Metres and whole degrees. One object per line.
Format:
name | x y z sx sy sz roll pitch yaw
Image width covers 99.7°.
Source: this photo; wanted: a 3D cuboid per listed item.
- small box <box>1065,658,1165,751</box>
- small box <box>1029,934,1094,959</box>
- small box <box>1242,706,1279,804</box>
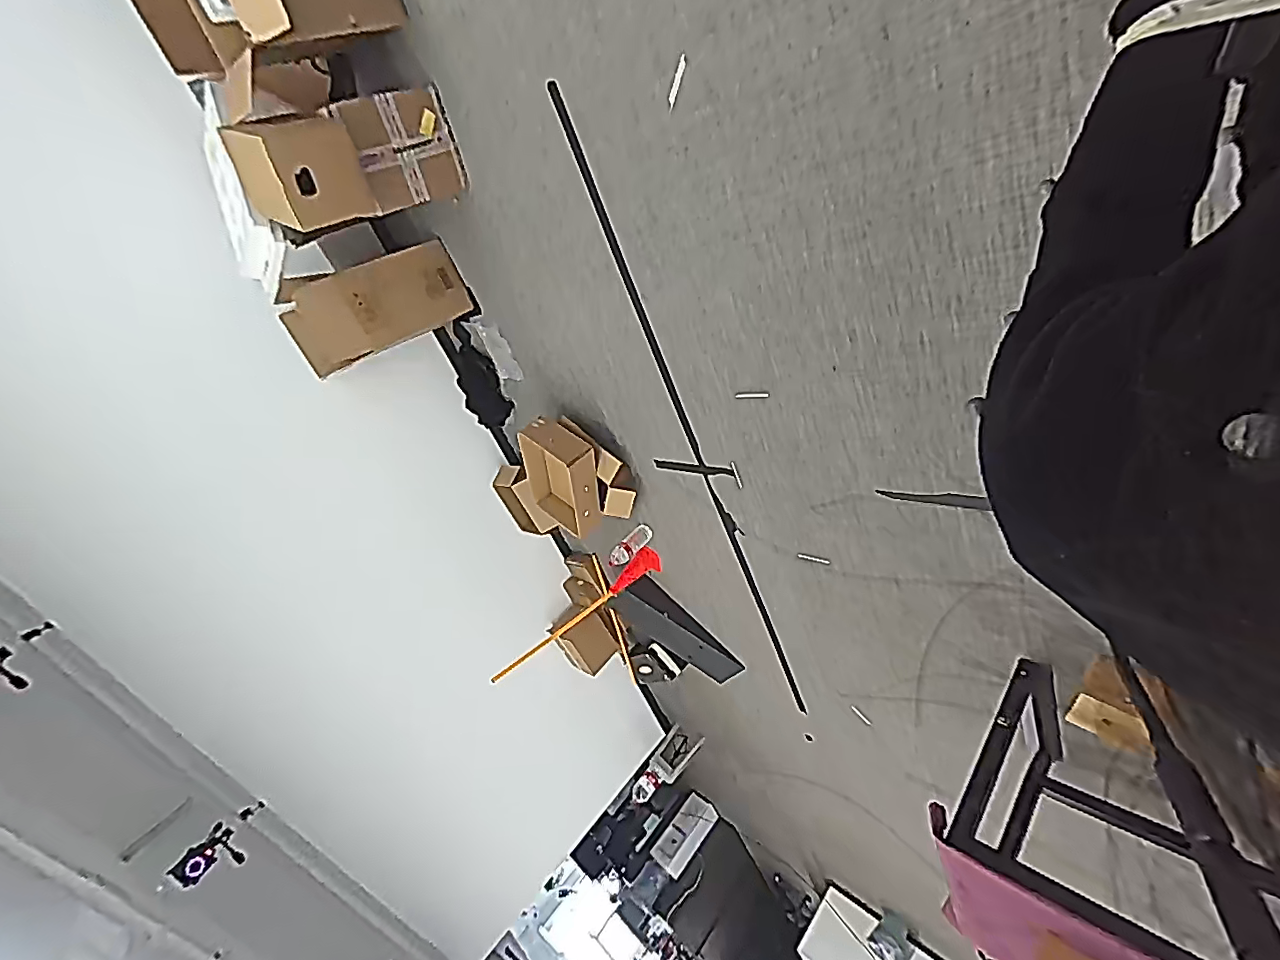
small box | 1.444 0.673 1.645 0.179 0.176 0.168 23 141 36
small box | 1.083 1.294 1.356 0.179 0.176 0.168 10 133 48
small box | 1.678 0.721 1.380 0.168 0.176 0.179 7 129 50
